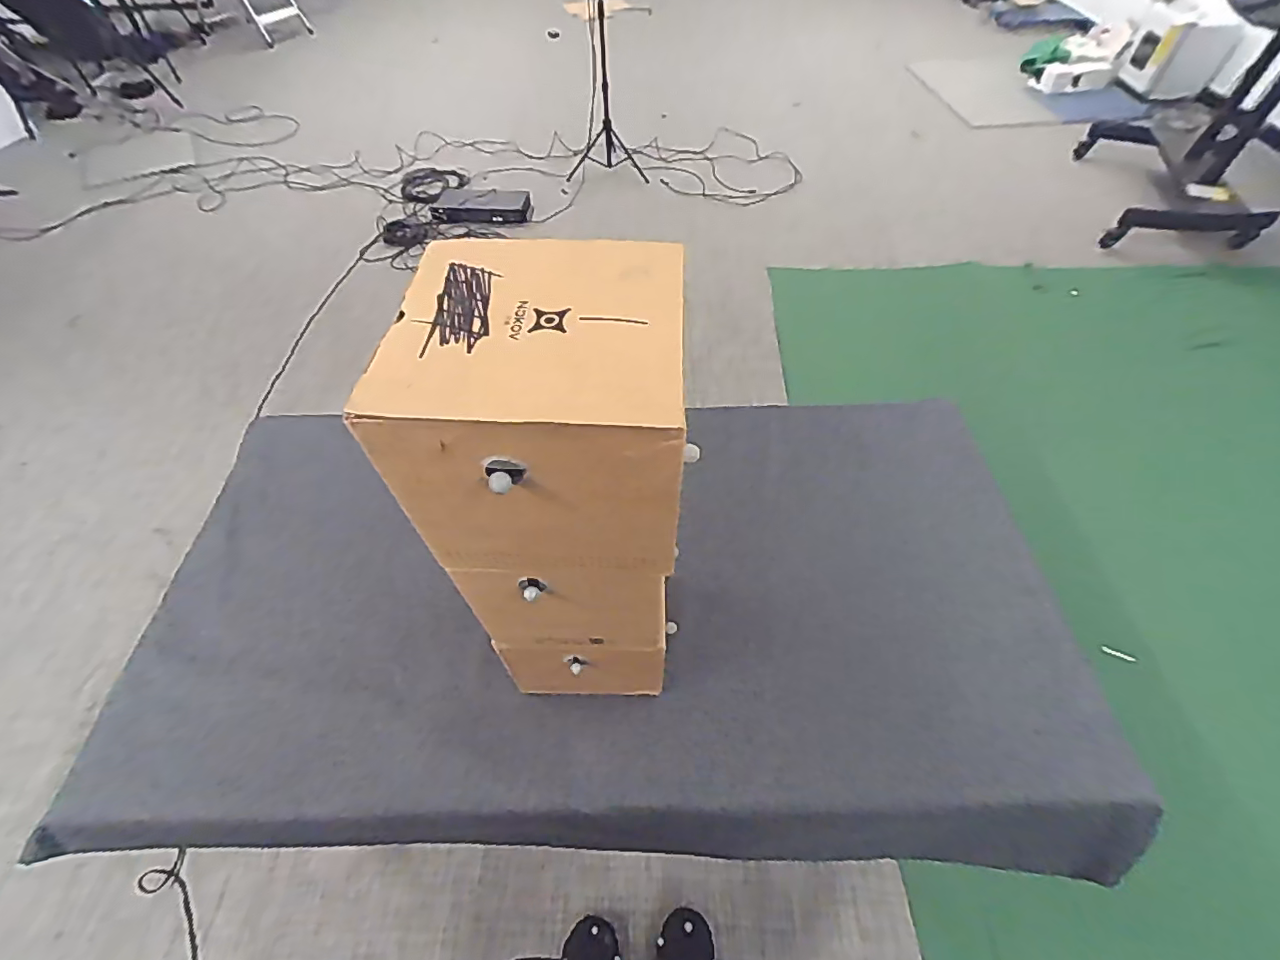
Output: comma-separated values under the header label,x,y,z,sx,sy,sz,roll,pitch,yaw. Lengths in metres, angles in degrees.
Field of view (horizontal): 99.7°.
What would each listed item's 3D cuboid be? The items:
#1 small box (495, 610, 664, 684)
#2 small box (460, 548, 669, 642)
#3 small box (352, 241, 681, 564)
label,x,y,z,sx,sy,sz,roll,pitch,yaw
small box,-0.060,0.143,0.659,0.179,0.176,0.168,1,54,1
small box,-0.060,0.045,0.531,0.168,0.176,0.179,0,54,0
small box,-0.062,-0.050,0.393,0.179,0.176,0.168,2,54,2
